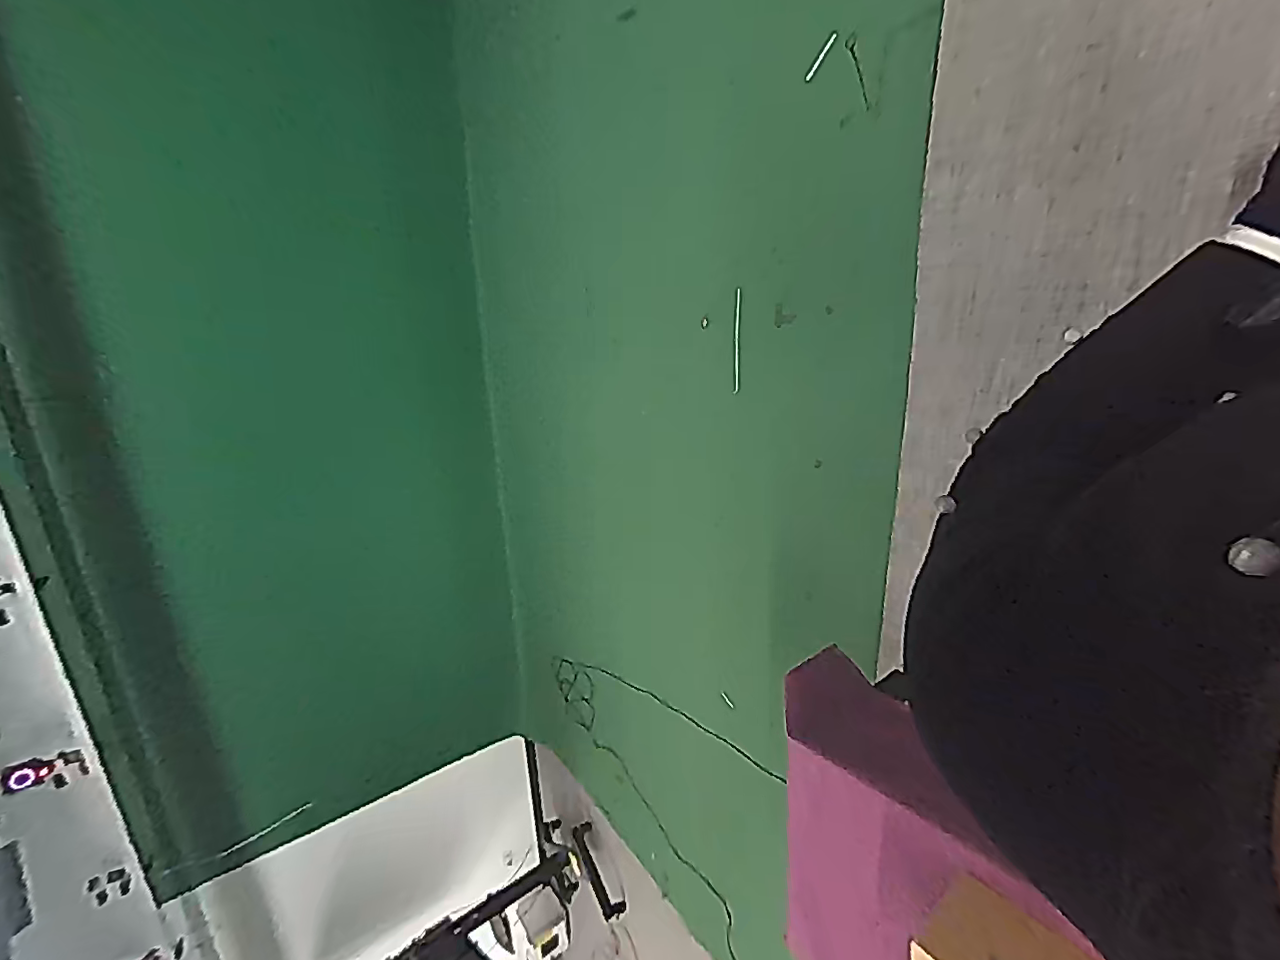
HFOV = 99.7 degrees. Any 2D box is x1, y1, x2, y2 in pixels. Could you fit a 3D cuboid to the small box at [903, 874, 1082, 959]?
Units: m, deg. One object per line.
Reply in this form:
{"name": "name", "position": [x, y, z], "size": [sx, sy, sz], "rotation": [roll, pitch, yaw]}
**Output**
{"name": "small box", "position": [0.503, 0.731, 0.781], "size": [0.179, 0.176, 0.168], "rotation": [17, 114, 51]}
